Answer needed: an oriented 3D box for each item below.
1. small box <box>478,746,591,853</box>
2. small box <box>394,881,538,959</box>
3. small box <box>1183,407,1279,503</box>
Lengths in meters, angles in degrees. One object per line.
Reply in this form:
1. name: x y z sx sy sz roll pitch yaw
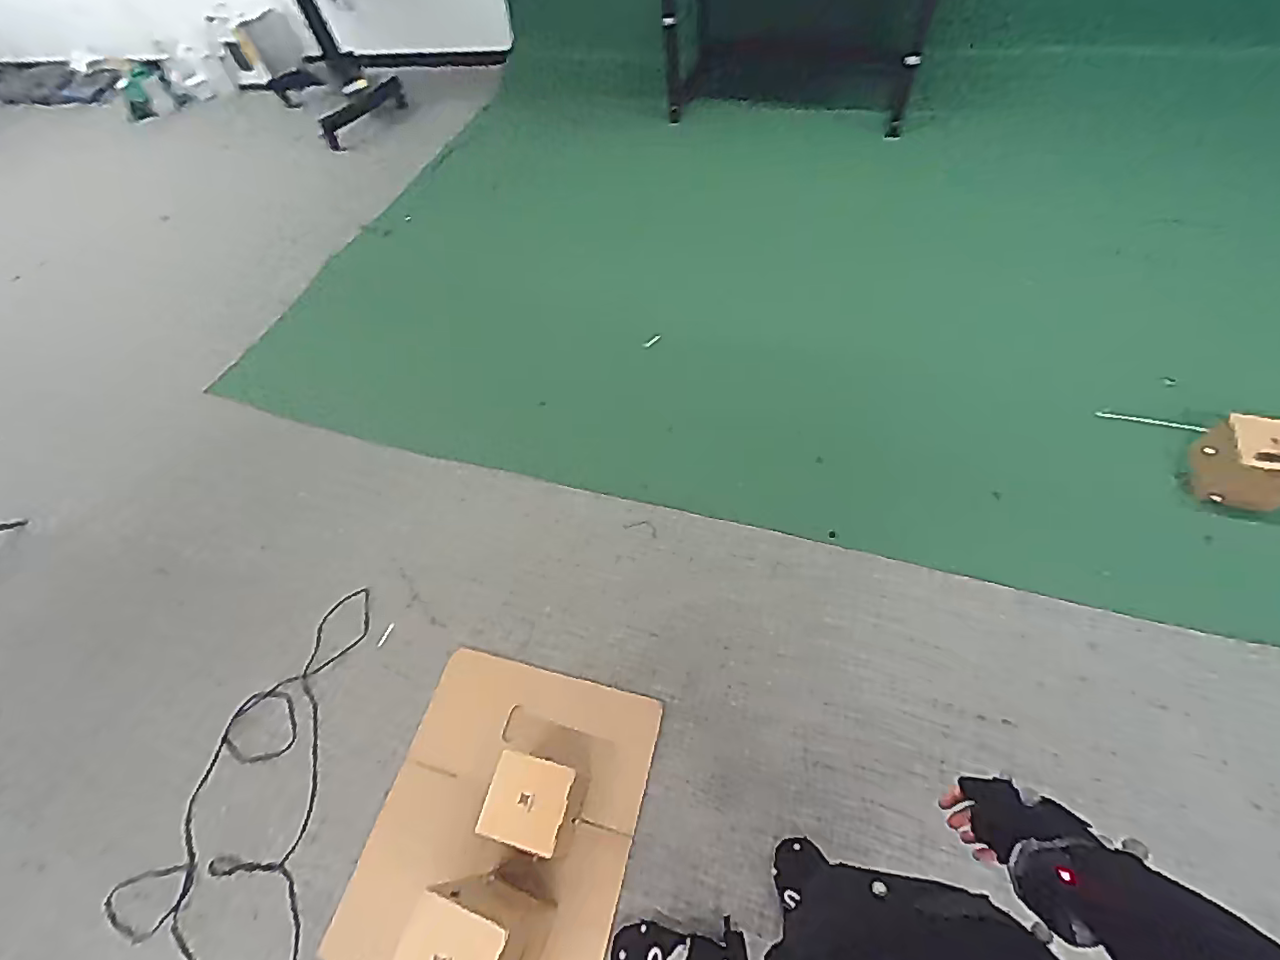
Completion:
1. small box: -0.226 0.717 1.212 0.179 0.176 0.168 9 59 13
2. small box: -0.307 0.834 0.950 0.179 0.176 0.168 13 62 16
3. small box: 1.602 -0.062 1.432 0.168 0.176 0.179 13 60 16
